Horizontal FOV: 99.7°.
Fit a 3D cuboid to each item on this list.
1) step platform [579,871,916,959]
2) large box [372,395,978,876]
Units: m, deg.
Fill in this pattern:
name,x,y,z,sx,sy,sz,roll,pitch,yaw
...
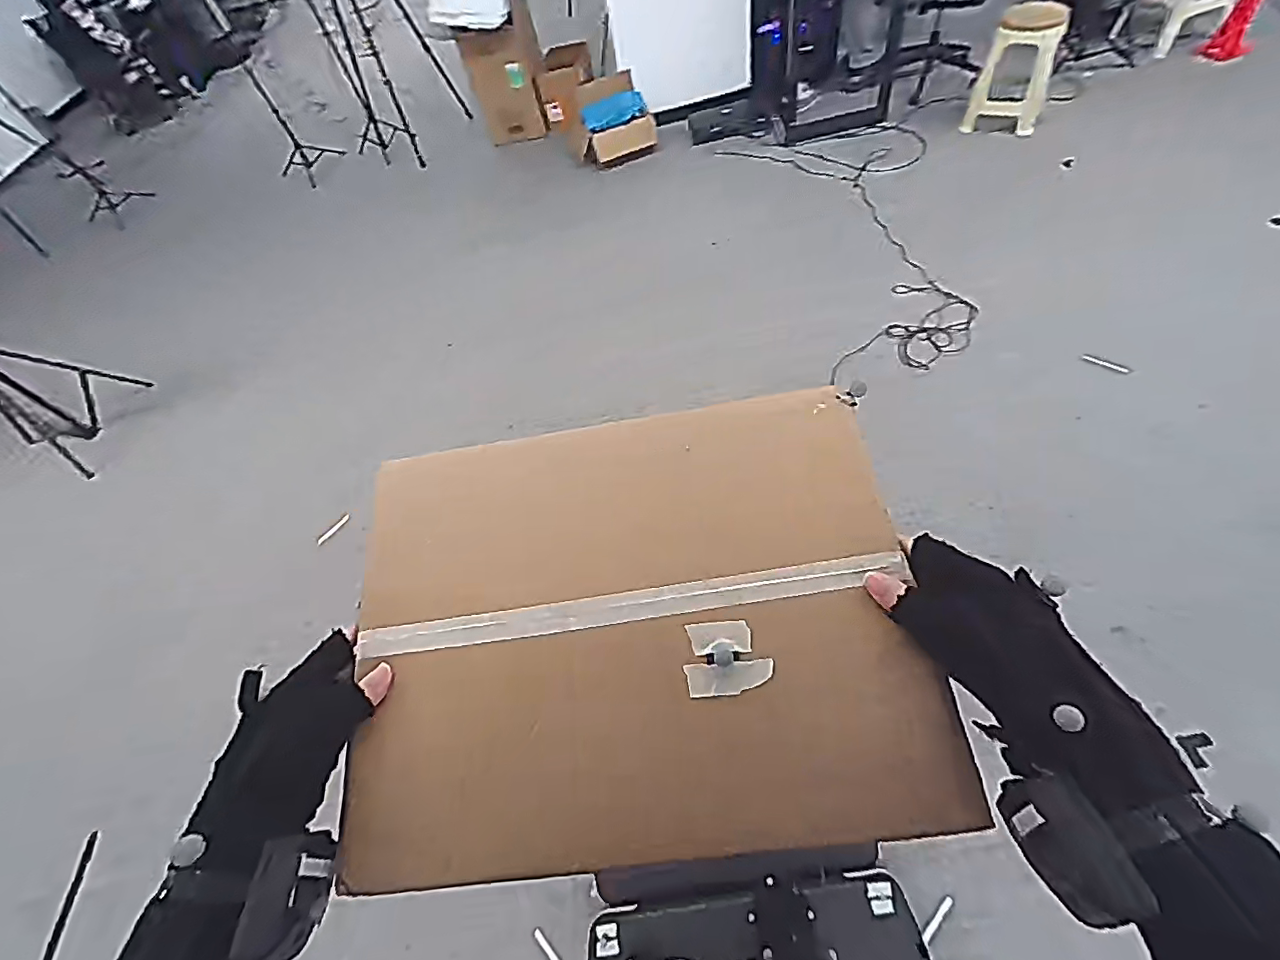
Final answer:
name,x,y,z,sx,sy,sz,roll,pitch,yaw
step platform,0.216,1.027,1.113,0.684,0.204,0.286,-13,54,5
large box,0.017,0.158,0.543,0.408,0.320,0.320,-9,65,5
